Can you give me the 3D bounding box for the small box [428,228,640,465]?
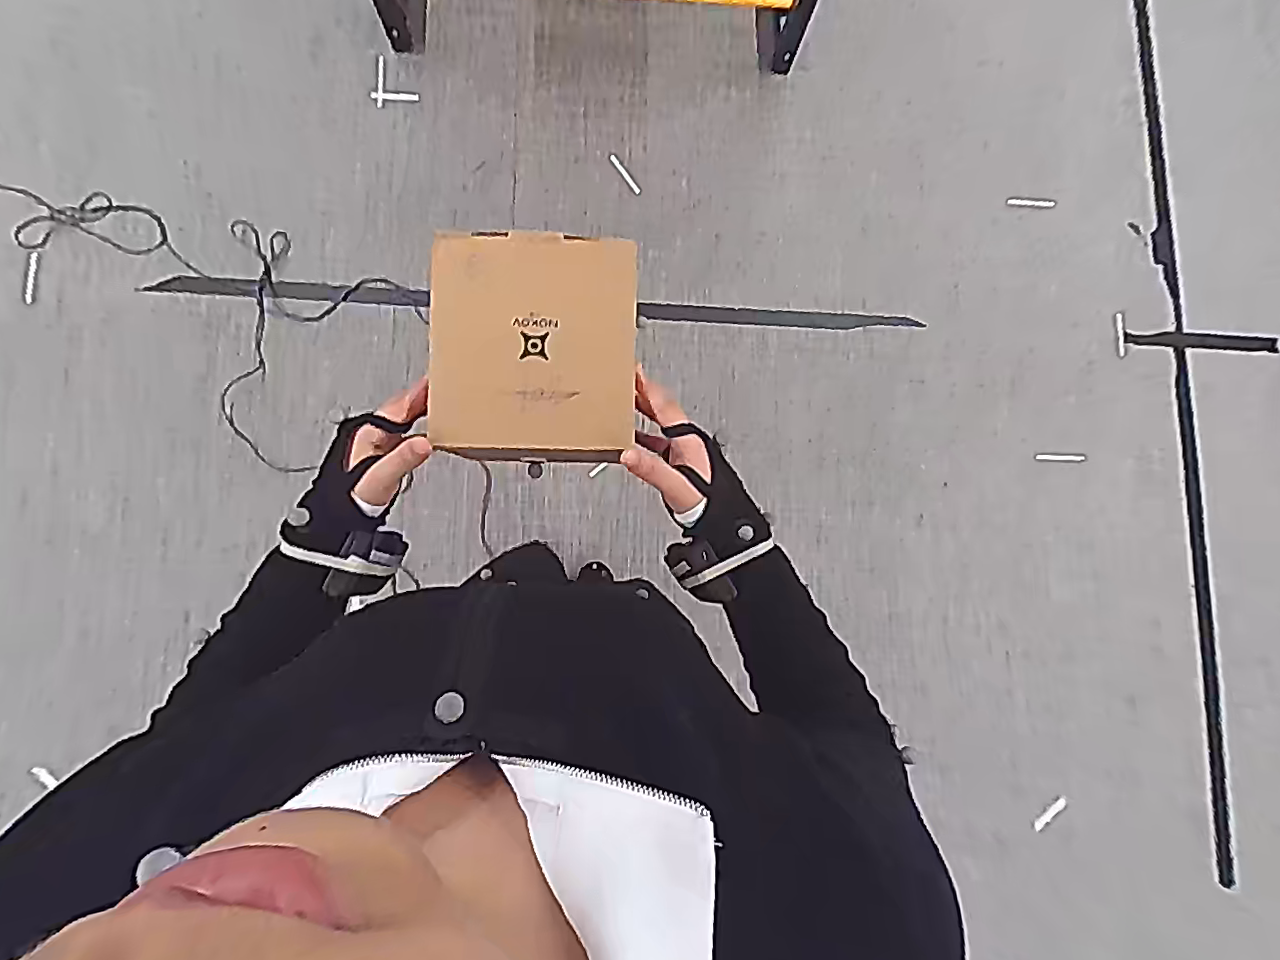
[{"bbox_3d":[-0.089,-0.110,0.512,0.168,0.176,0.179,0,88,-3],"label":"small box"}]
